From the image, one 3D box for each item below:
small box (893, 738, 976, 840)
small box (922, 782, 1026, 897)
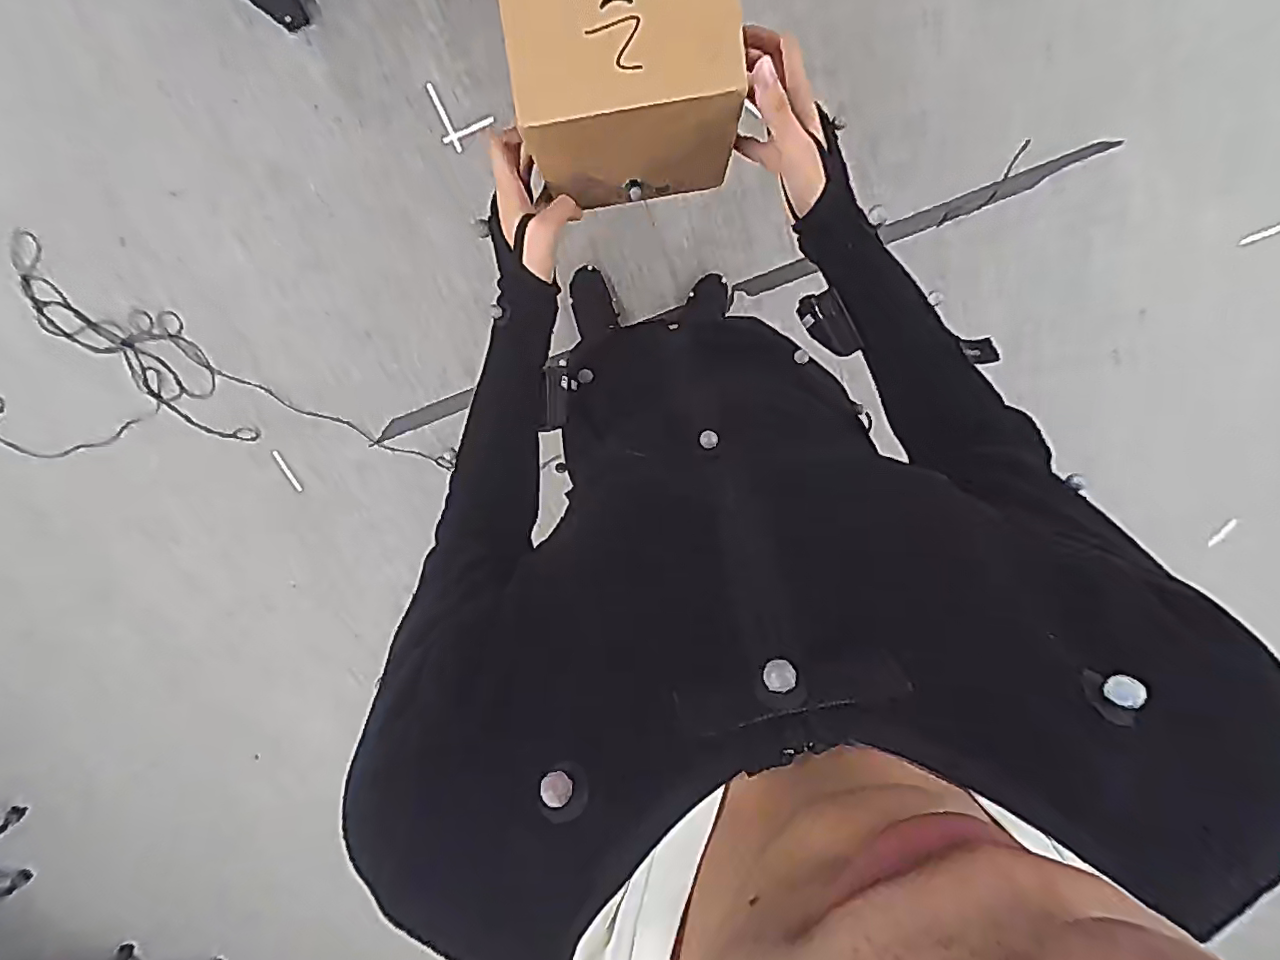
[{"bbox_3d":[0.872,0.903,1.590,0.179,0.176,0.168,-27,112,5],"label":"small box"},{"bbox_3d":[0.881,0.946,1.432,0.168,0.176,0.179,-22,113,3],"label":"small box"}]
